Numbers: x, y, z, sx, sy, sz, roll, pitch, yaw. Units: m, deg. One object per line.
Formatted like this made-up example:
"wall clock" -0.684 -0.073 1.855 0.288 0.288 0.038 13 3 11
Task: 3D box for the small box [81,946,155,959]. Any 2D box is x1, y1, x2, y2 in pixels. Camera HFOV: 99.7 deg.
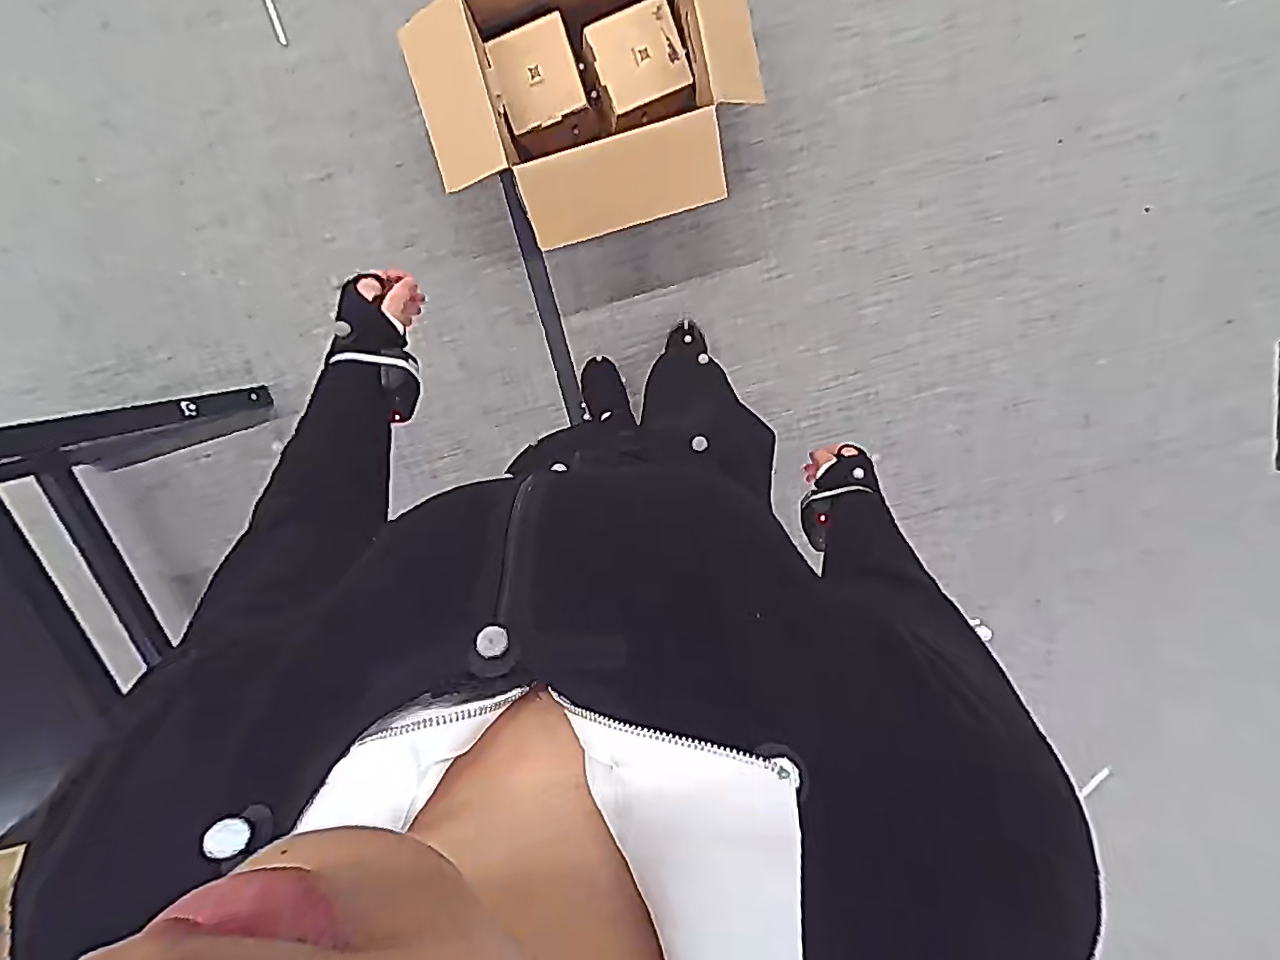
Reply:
"small box" -0.968 0.966 0.936 0.179 0.176 0.168 -17 105 4
